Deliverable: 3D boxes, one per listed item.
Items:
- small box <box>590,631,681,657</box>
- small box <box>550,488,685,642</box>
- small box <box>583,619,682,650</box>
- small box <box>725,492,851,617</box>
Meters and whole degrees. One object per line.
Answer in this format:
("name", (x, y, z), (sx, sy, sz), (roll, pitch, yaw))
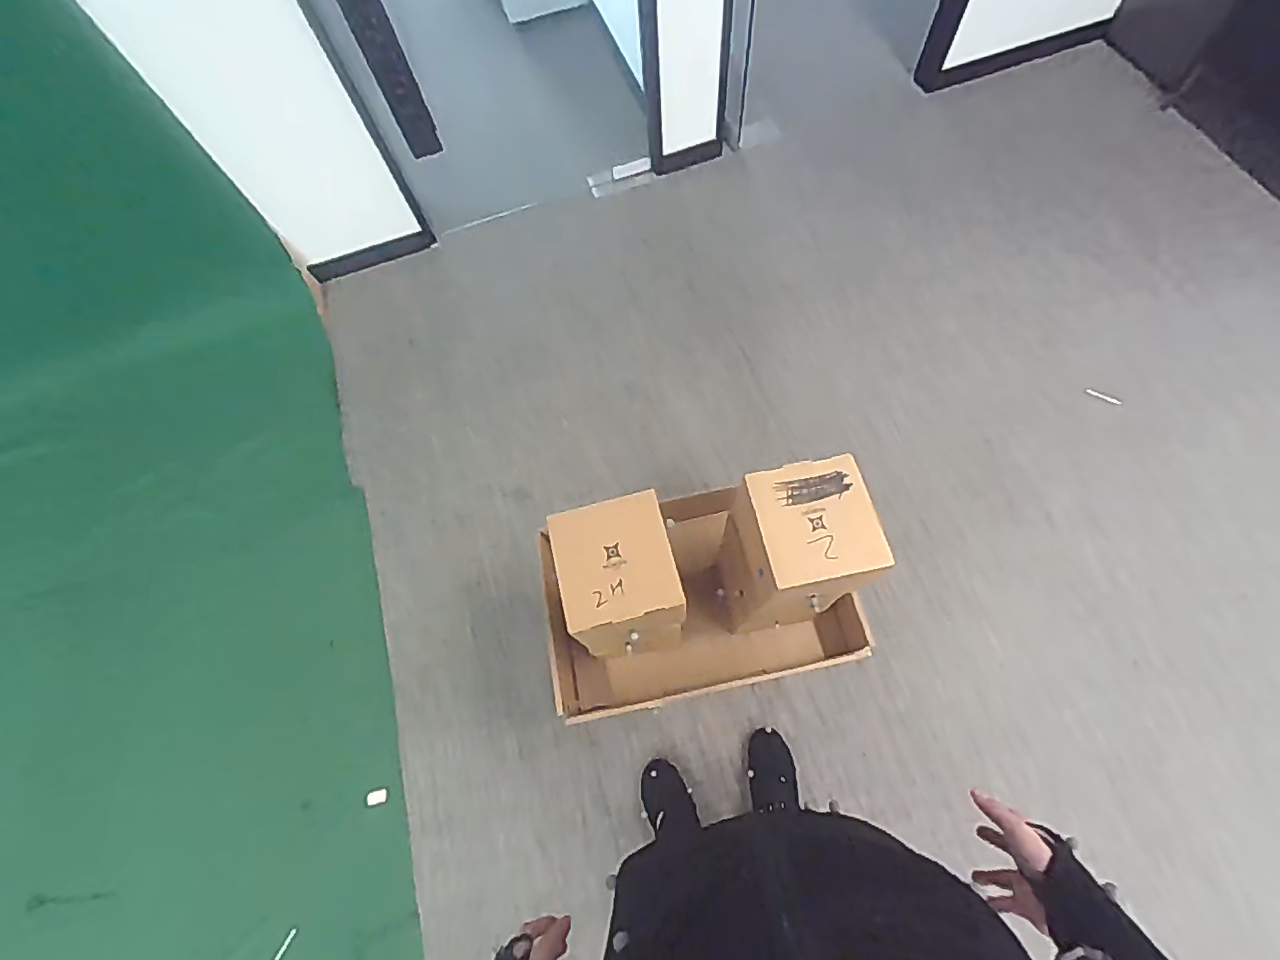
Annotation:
("small box", (-0.011, 0.270, 1.135), (0.179, 0.176, 0.168), (-9, 67, 0))
("small box", (-0.031, 0.138, 0.835), (0.168, 0.176, 0.179), (-14, 67, -1))
("small box", (-0.021, 0.201, 0.987), (0.168, 0.176, 0.179), (-11, 67, 0))
("small box", (0.257, 0.145, 0.983), (0.168, 0.176, 0.179), (-11, 65, 0))
